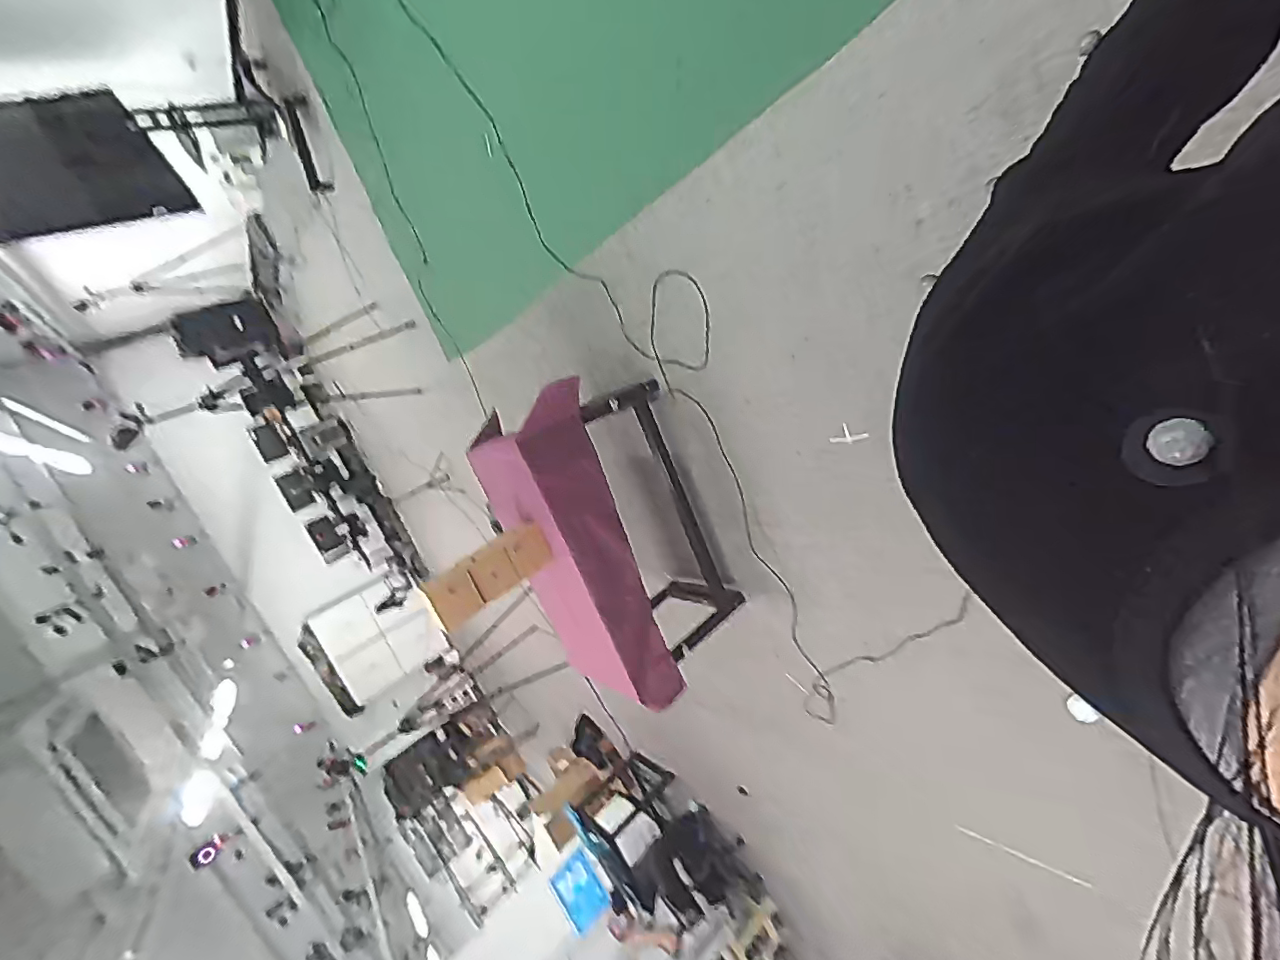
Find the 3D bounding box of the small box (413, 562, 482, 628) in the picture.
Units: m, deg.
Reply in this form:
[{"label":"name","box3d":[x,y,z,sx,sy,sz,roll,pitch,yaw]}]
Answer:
[{"label":"small box","box3d":[-0.733,0.431,2.065,0.168,0.176,0.179,-1,115,55]}]

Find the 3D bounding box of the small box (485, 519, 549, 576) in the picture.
[{"label":"small box","box3d":[-0.508,0.275,2.245,0.168,0.176,0.179,-1,115,55]}]
